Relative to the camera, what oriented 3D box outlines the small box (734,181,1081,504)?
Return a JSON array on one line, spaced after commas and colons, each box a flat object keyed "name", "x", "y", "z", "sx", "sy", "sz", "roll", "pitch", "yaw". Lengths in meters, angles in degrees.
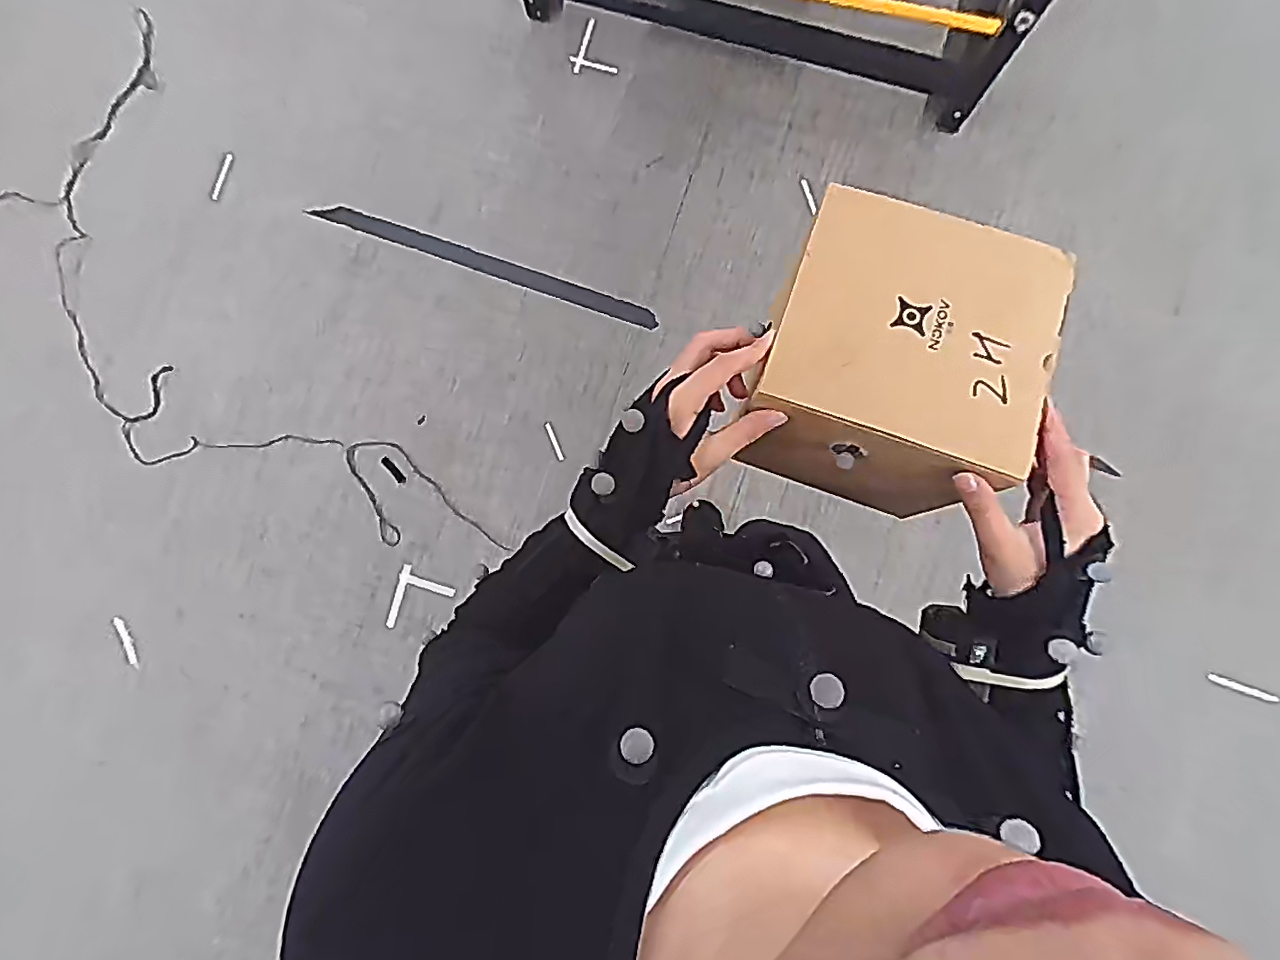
[{"name": "small box", "x": 0.187, "y": -0.089, "z": 0.430, "sx": 0.179, "sy": 0.176, "sz": 0.168, "roll": 20, "pitch": 80, "yaw": 5}]
